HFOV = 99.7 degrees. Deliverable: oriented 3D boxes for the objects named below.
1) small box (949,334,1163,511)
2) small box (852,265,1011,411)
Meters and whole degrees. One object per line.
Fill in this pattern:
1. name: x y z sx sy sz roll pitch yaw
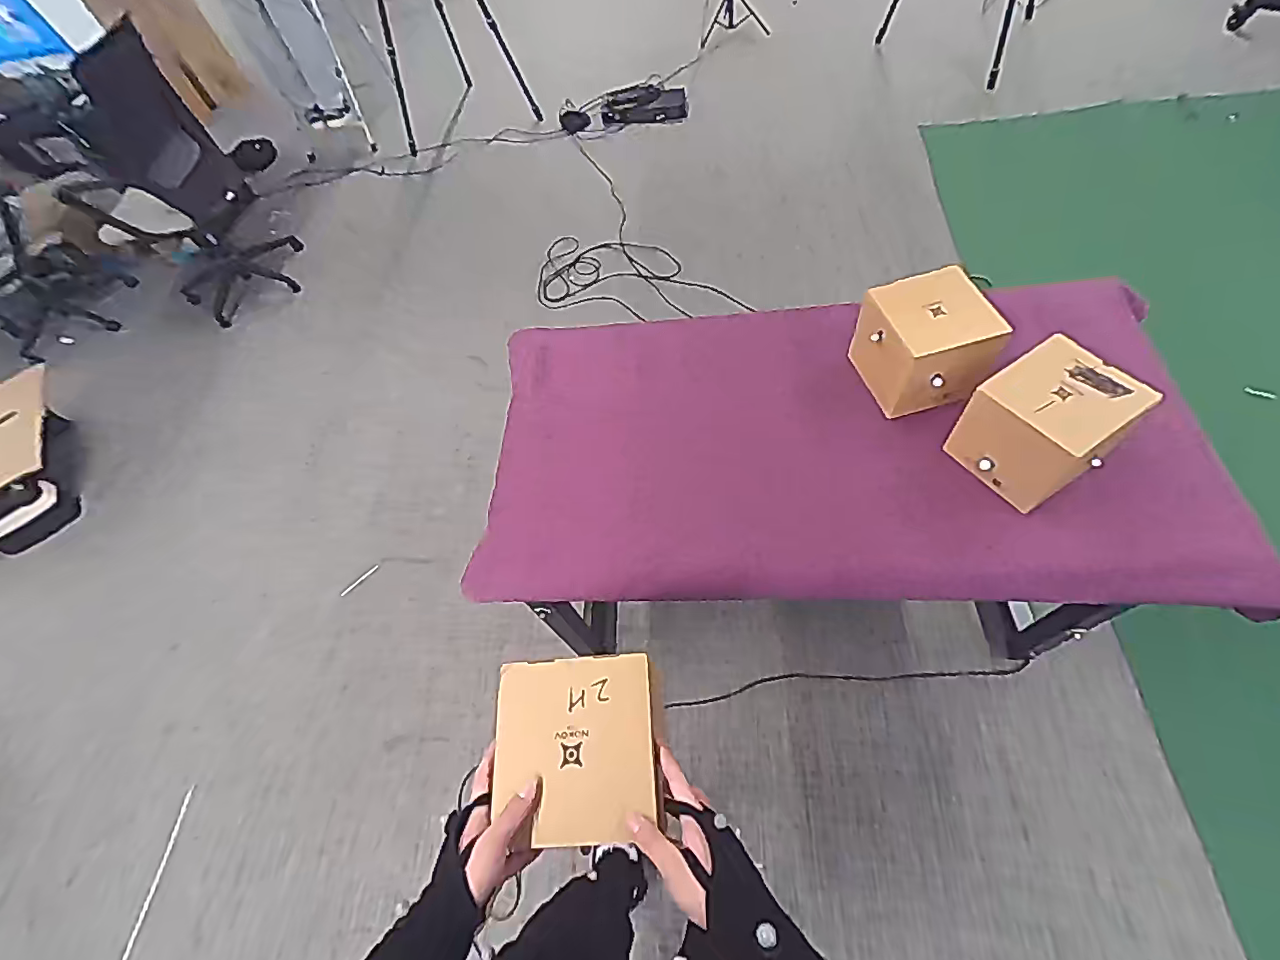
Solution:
1. small box: 0.627 -0.085 0.844 0.179 0.176 0.168 -32 59 -9
2. small box: 0.502 -0.242 0.962 0.168 0.176 0.179 -15 58 0
